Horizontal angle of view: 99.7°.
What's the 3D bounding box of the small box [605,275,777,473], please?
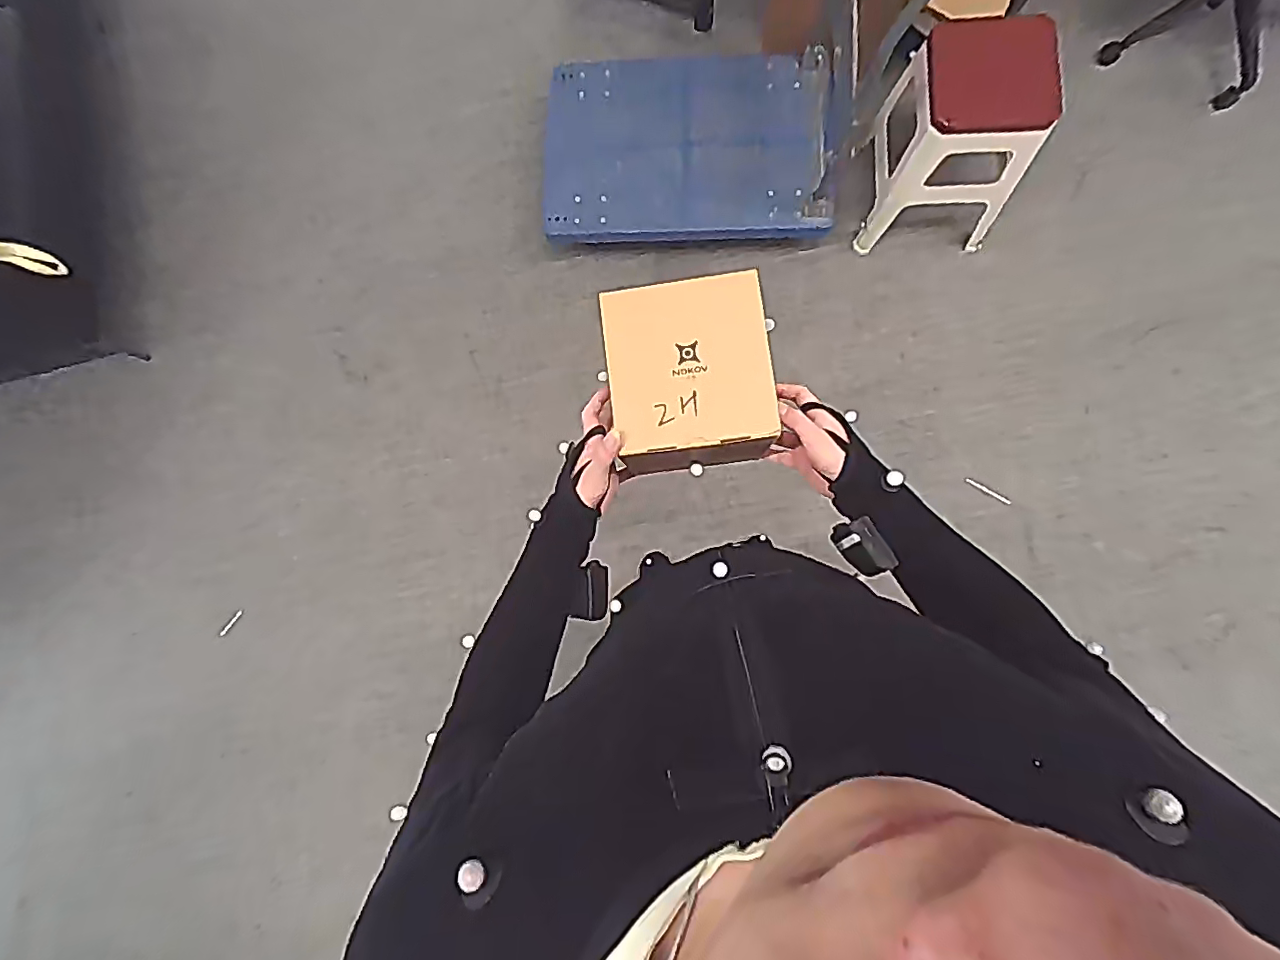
[{"bbox_3d":[0.056,-0.111,0.635,0.168,0.176,0.179,-7,84,5],"label":"small box"}]
